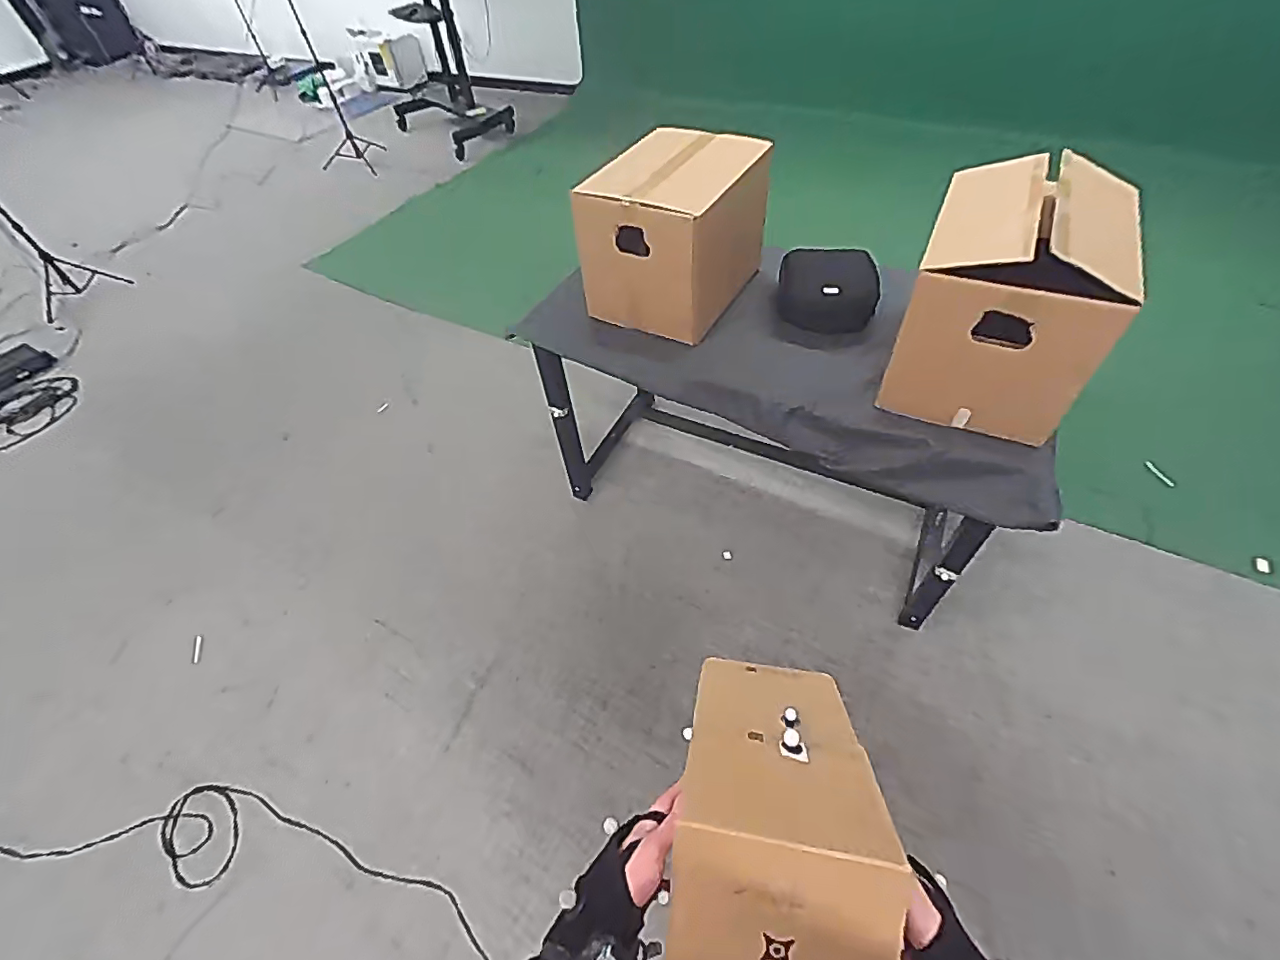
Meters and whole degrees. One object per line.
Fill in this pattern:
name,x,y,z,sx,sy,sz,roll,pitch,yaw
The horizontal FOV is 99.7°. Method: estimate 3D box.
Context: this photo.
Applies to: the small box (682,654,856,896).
small box,0.147,0.332,0.643,0.168,0.176,0.179,5,95,10
